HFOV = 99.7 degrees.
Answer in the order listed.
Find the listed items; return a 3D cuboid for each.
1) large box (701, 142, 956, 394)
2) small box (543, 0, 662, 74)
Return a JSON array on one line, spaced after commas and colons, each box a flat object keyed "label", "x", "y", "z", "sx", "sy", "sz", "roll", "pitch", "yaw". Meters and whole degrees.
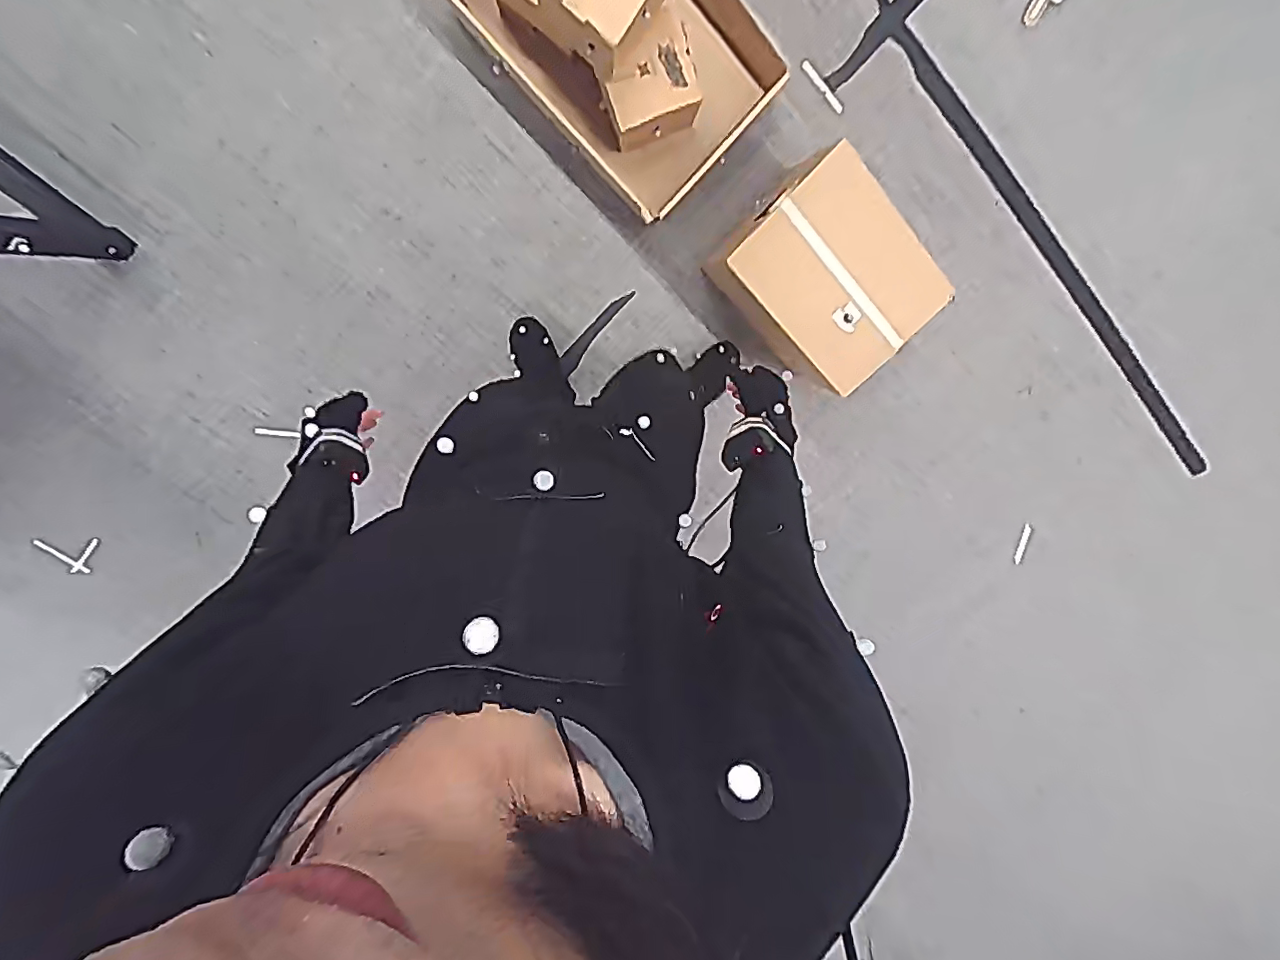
[{"label": "large box", "x": 0.406, "y": -0.466, "z": 1.244, "sx": 0.408, "sy": 0.320, "sz": 0.320, "roll": 42, "pitch": 103, "yaw": -18}, {"label": "small box", "x": -0.058, "y": -0.848, "z": 0.918, "sx": 0.168, "sy": 0.176, "sz": 0.179, "roll": 34, "pitch": 103, "yaw": -16}]
